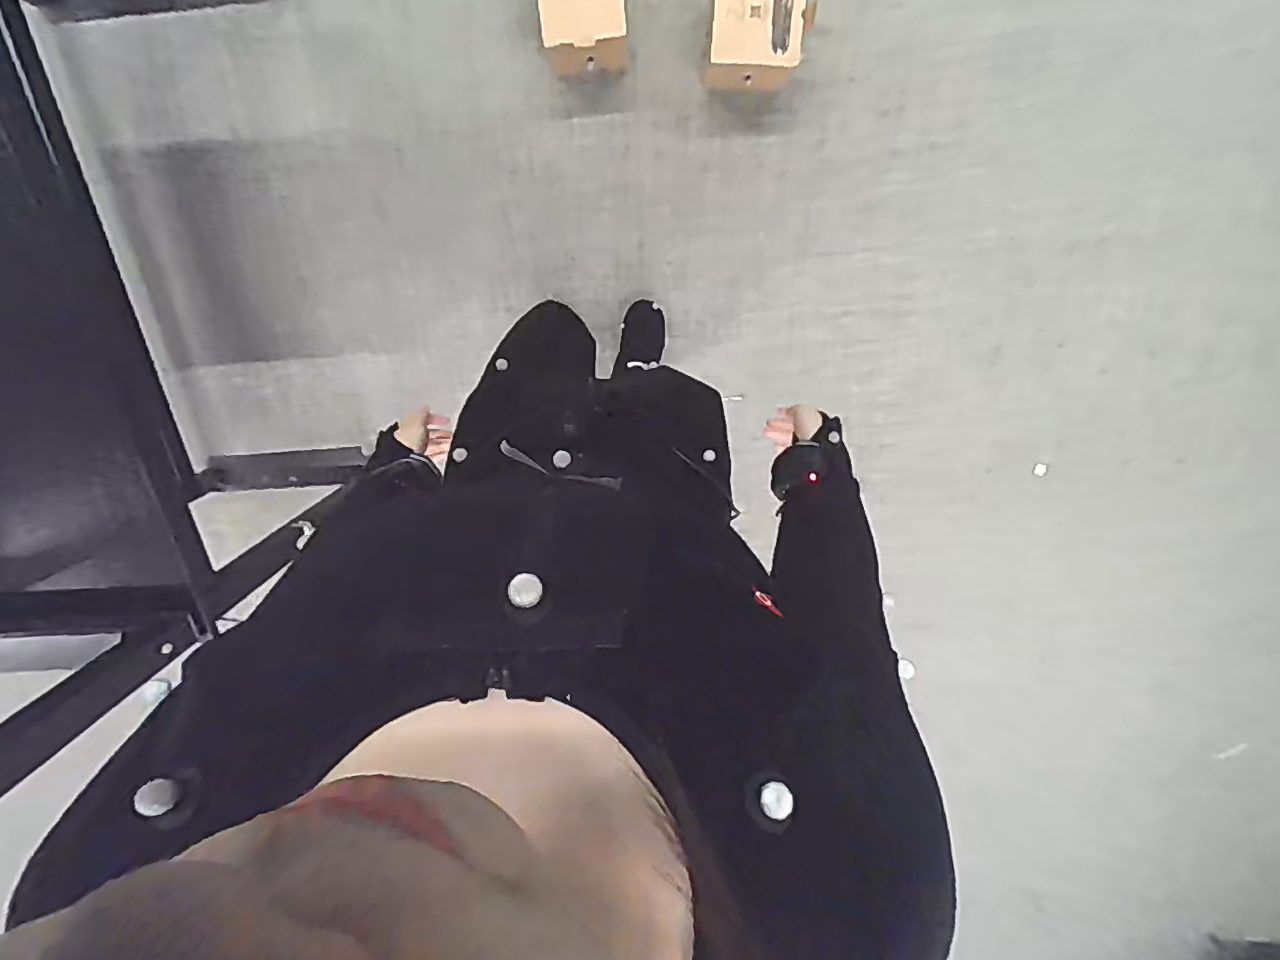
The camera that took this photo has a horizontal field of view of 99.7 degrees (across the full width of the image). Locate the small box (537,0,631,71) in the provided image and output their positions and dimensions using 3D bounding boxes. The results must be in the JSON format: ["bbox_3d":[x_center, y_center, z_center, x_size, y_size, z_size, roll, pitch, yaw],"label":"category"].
[{"bbox_3d":[-0.109,-0.944,1.076,0.168,0.176,0.179,-4,111,4],"label":"small box"}]
